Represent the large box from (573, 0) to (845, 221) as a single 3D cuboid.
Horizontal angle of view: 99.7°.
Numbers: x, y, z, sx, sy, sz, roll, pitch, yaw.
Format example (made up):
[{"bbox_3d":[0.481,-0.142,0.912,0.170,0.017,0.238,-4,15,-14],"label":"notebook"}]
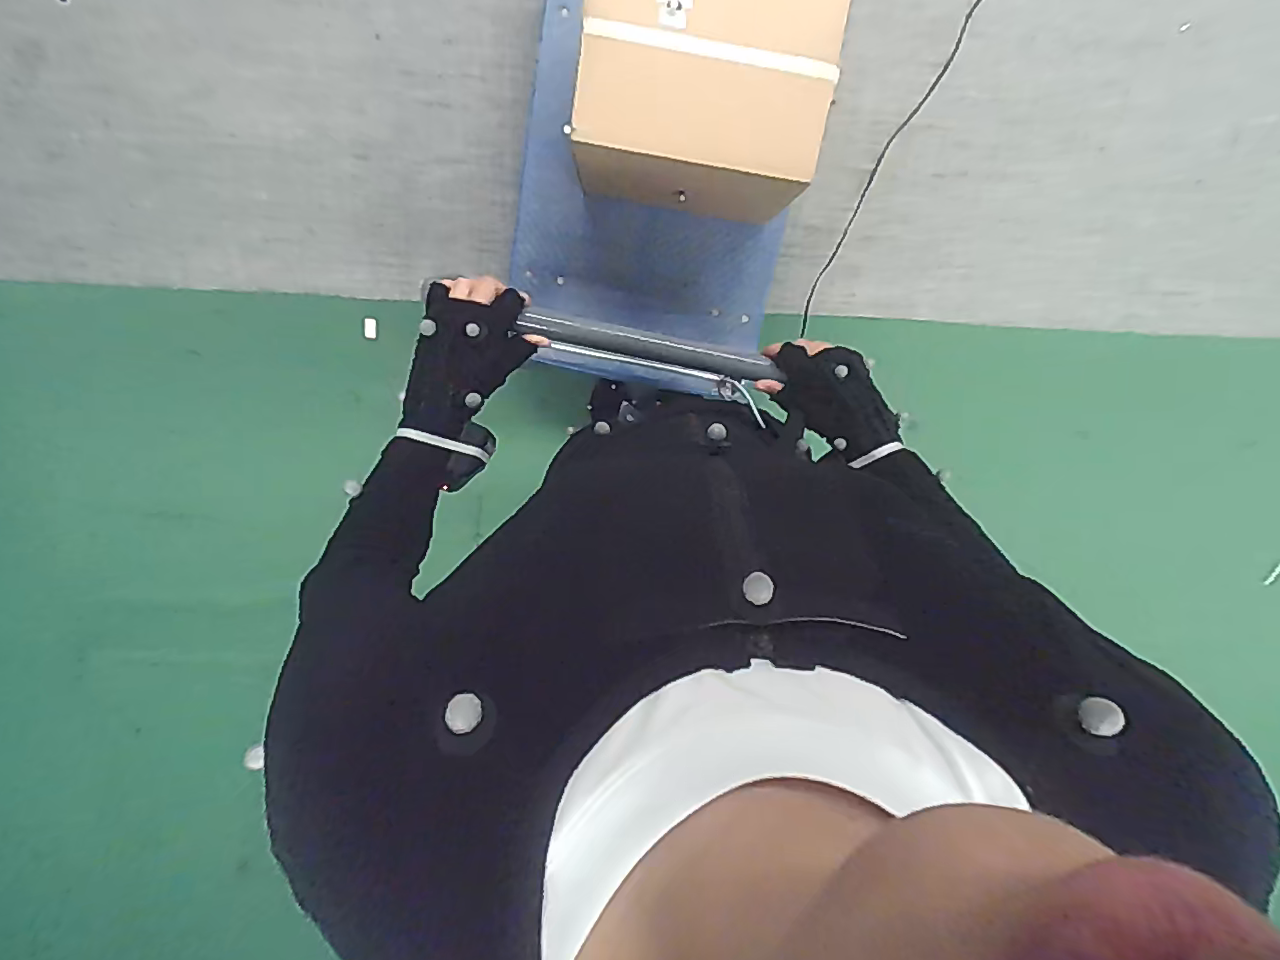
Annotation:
[{"bbox_3d":[0.106,-0.698,0.993,0.408,0.320,0.320,8,102,-3],"label":"large box"}]
